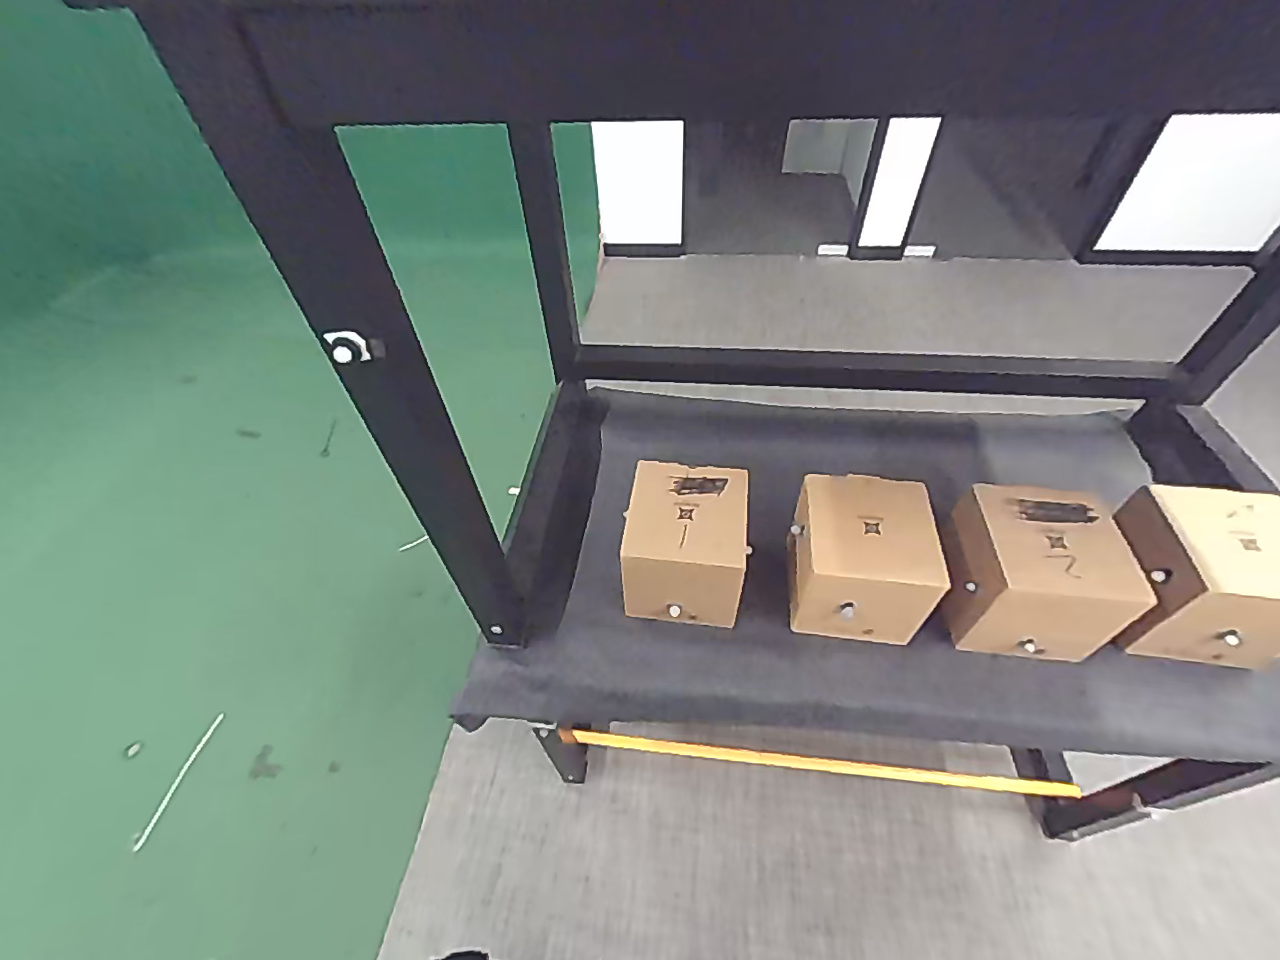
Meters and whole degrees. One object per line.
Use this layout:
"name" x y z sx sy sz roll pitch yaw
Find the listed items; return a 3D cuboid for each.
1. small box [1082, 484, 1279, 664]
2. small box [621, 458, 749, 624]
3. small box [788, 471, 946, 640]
"small box" 0.762 0.130 0.738 0.168 0.176 0.179 6 48 9
"small box" 0.069 0.092 0.813 0.168 0.176 0.179 5 49 8
"small box" 0.312 0.112 0.784 0.168 0.176 0.179 5 48 8
